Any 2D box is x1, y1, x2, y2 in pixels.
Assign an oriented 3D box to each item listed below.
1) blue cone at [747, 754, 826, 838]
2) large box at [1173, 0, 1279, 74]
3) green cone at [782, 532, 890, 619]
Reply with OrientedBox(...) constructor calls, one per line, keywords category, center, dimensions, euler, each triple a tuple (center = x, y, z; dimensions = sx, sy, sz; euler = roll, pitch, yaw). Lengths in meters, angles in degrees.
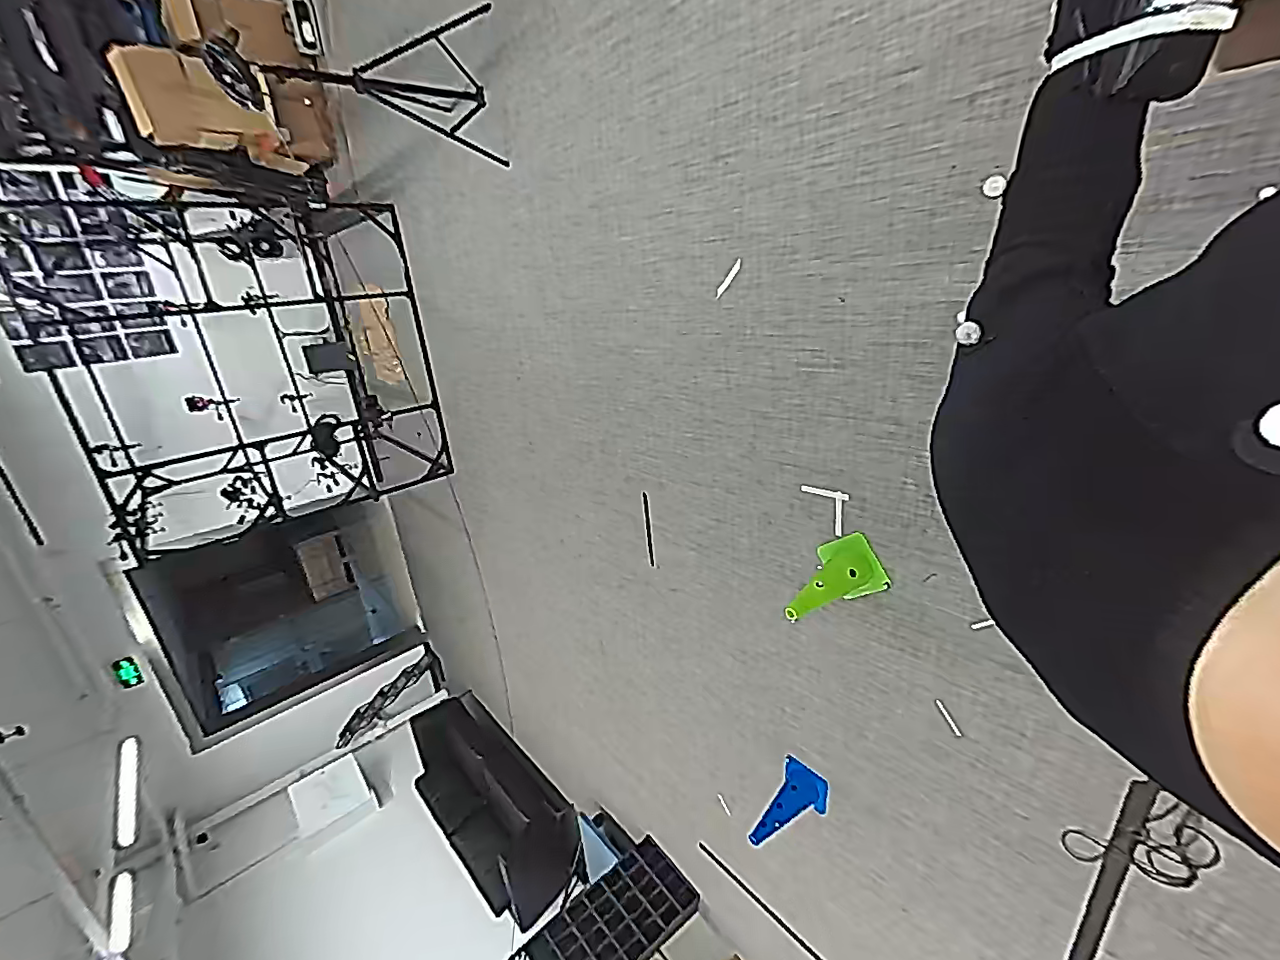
OrientedBox(category="blue cone", center=(0.583, 1.335, 2.215), dimensions=(0.192, 0.380, 0.193), euler=(23, 125, 46))
OrientedBox(category="large box", center=(0.563, -0.450, 0.245), dimensions=(0.408, 0.320, 0.320), euler=(16, 122, 45))
OrientedBox(category="green cone", center=(0.573, 0.333, 1.691), dimensions=(0.200, 0.368, 0.202), euler=(62, 145, 10))
